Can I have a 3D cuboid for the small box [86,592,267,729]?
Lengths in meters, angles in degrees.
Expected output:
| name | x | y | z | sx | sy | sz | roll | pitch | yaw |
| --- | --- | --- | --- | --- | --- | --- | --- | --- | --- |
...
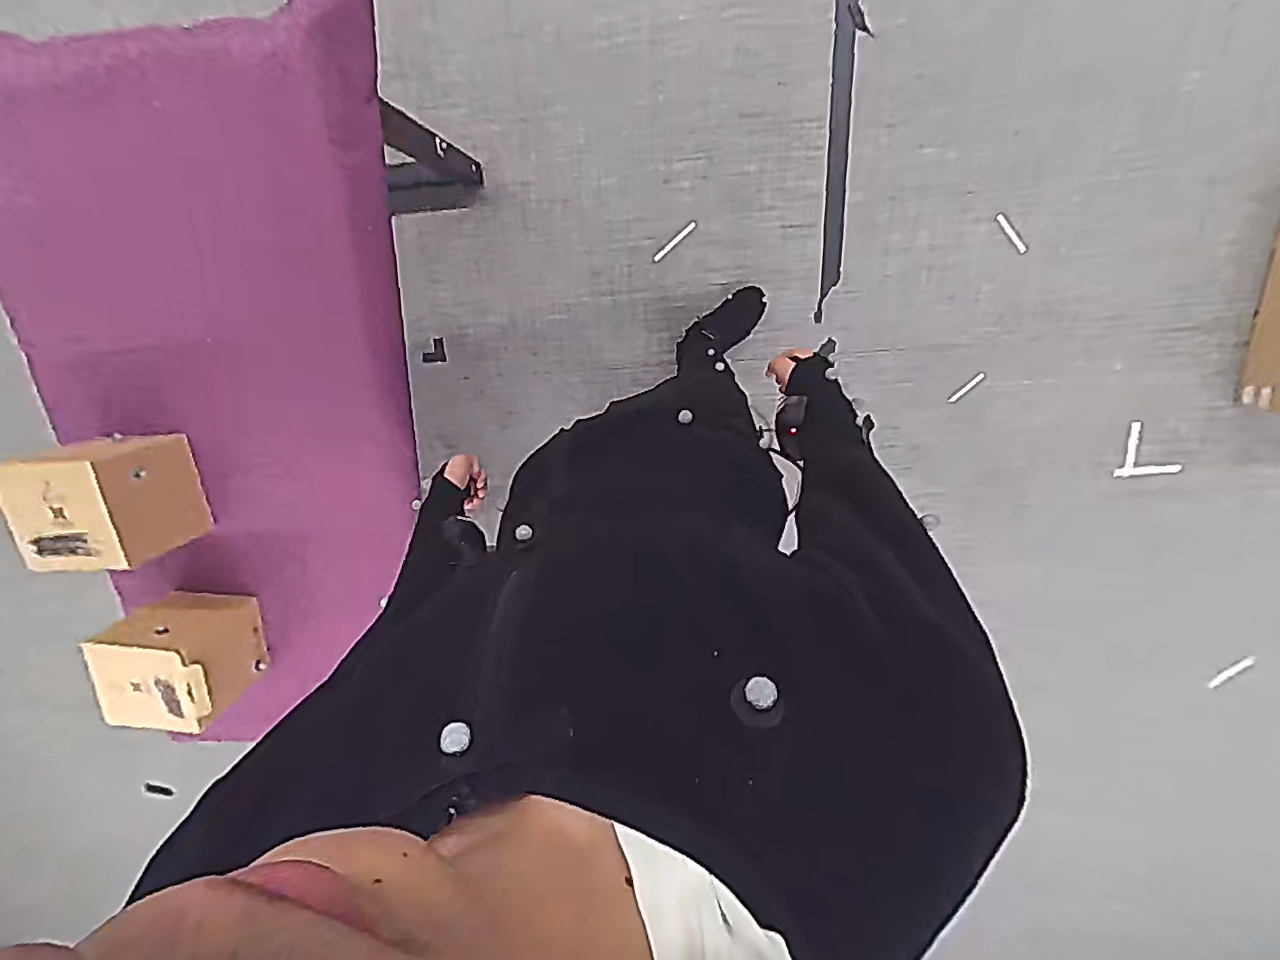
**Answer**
| name | x | y | z | sx | sy | sz | roll | pitch | yaw |
| --- | --- | --- | --- | --- | --- | --- | --- | --- | --- |
| small box | -0.812 | 0.316 | 0.974 | 0.179 | 0.176 | 0.168 | 4 | 108 | 3 |
